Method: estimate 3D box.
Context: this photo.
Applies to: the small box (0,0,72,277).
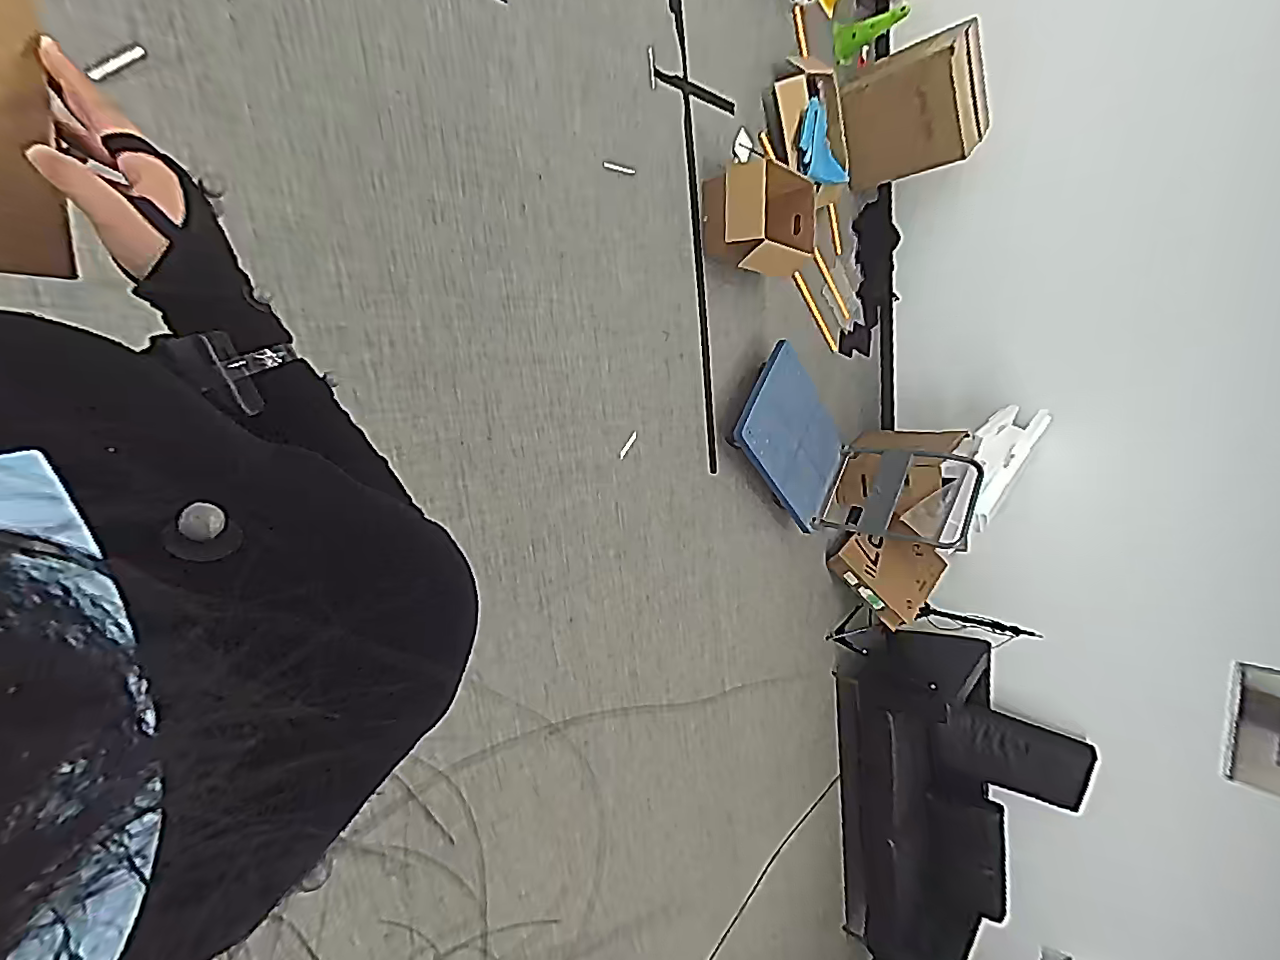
[{"bbox_3d":[-0.479,-0.250,0.331,0.168,0.176,0.179,-10,130,-46],"label":"small box"}]
